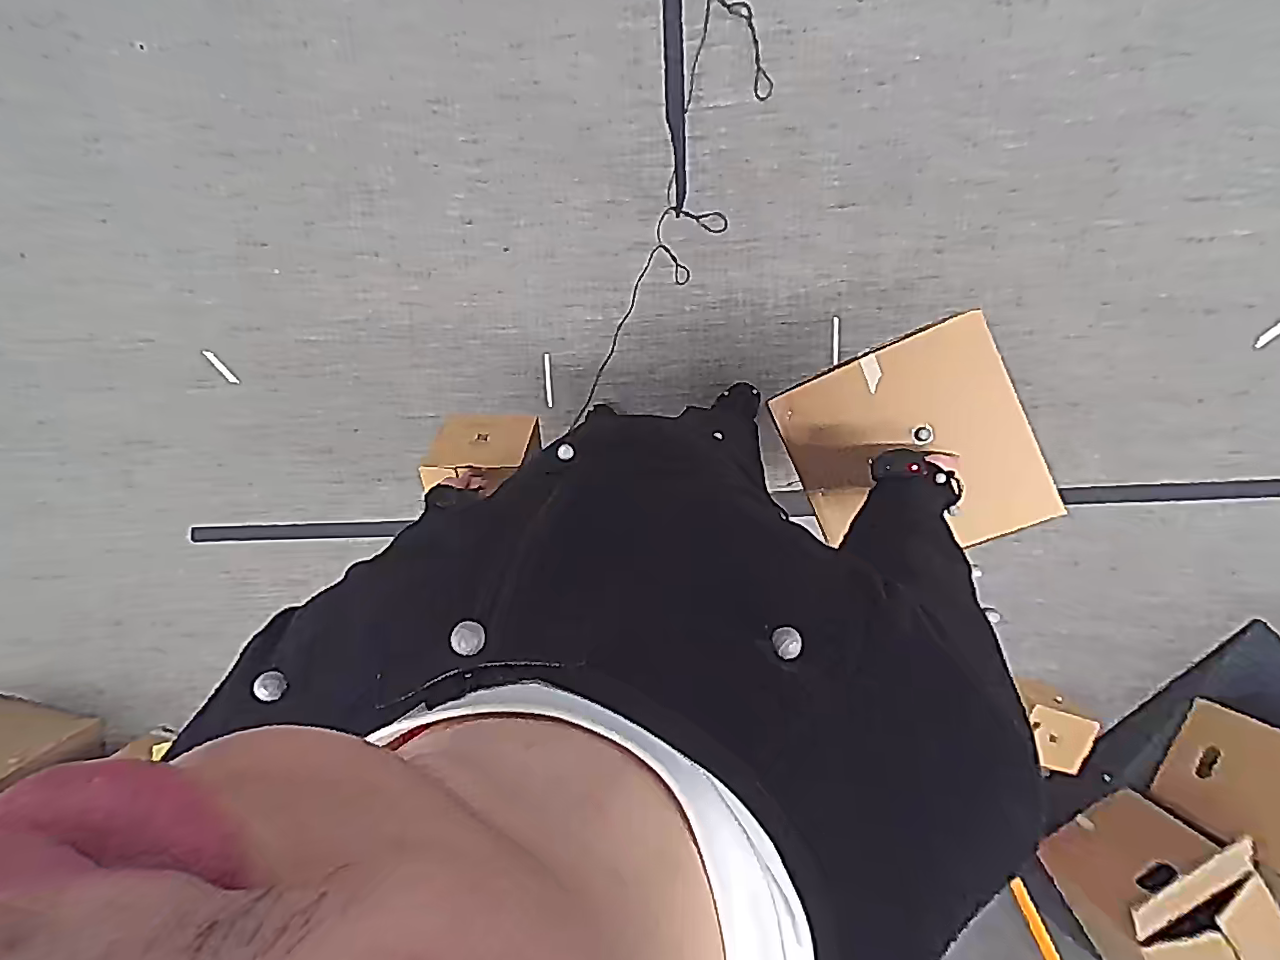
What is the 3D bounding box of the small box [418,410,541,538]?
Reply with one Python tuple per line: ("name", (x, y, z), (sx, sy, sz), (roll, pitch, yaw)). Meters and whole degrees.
("small box", (-0.279, -0.010, 0.989), (0.168, 0.179, 0.176), (2, 129, -1))
